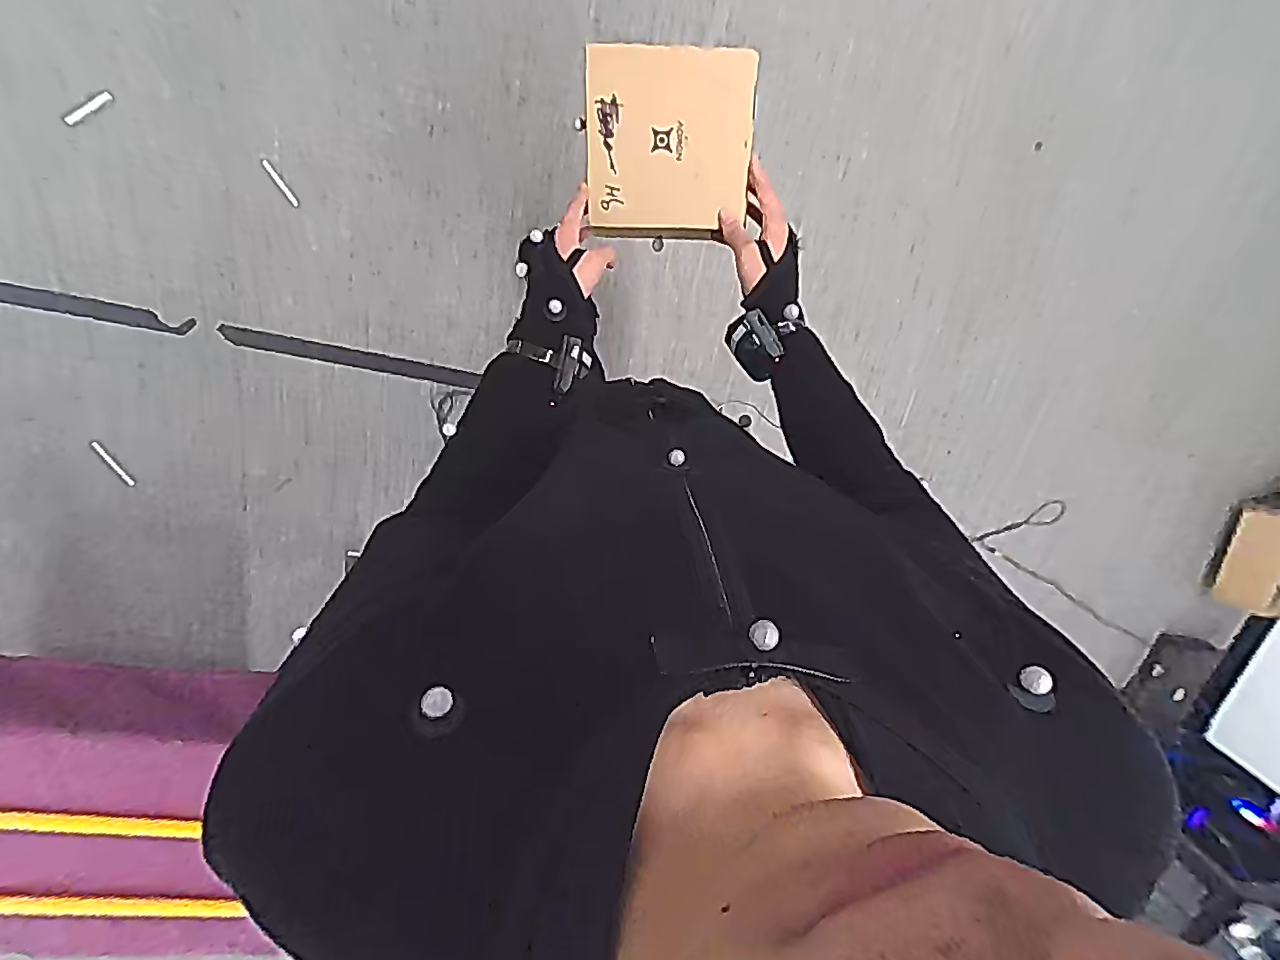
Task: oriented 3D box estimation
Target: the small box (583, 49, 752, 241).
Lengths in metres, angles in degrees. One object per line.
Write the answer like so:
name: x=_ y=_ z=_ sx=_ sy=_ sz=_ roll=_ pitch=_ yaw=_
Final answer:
small box: x=0.021 y=-0.384 z=0.650 sx=0.179 sy=0.176 sz=0.168 roll=0 pitch=111 yaw=-3
